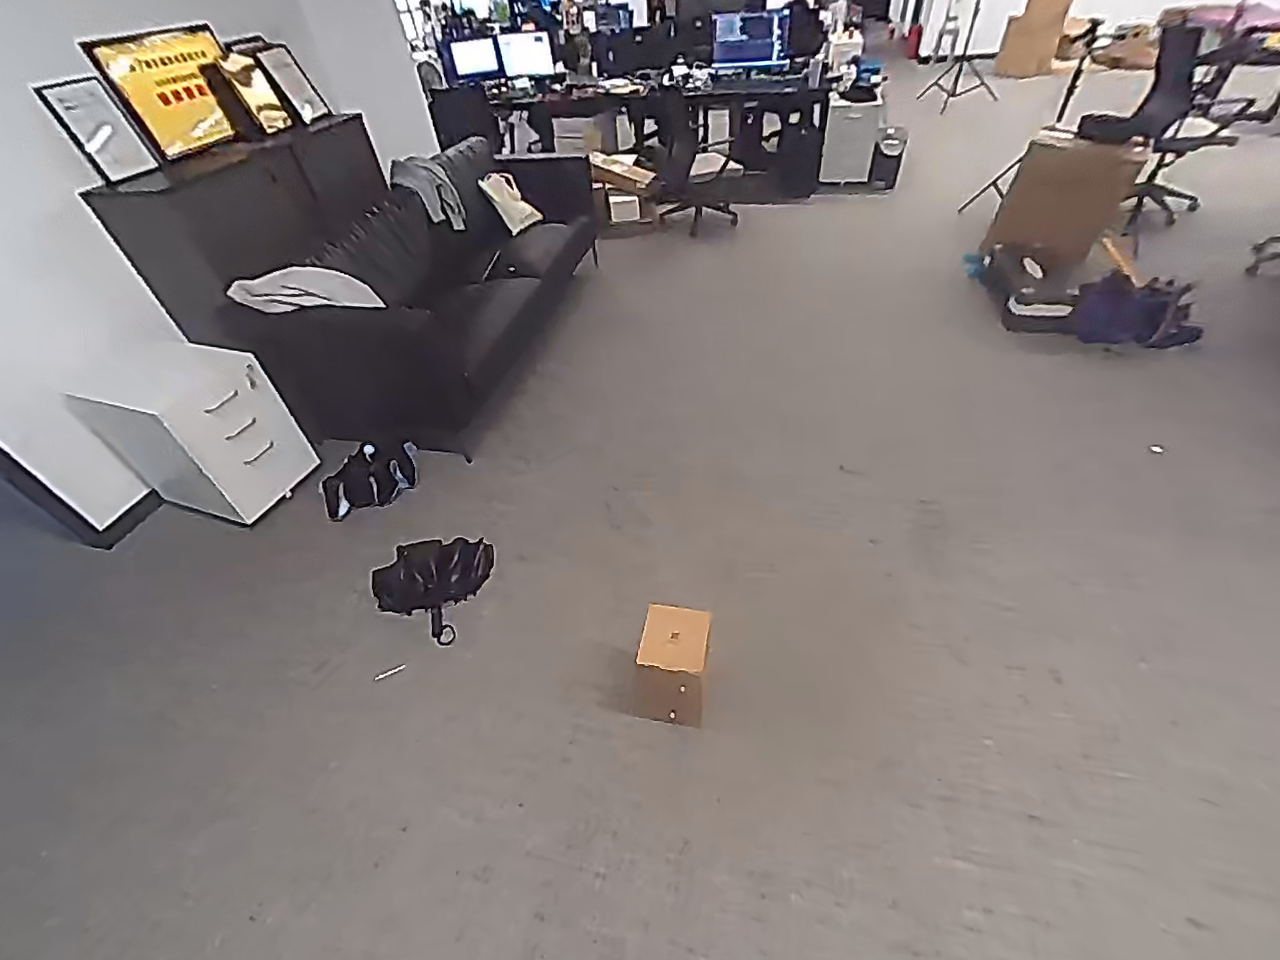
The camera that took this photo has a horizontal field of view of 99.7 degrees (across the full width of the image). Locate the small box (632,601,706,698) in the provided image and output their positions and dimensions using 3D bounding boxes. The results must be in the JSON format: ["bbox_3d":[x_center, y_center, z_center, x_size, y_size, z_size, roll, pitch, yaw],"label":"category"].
[{"bbox_3d":[0.082,0.445,1.413,0.168,0.176,0.179,6,45,11],"label":"small box"}]

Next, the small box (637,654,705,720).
[{"bbox_3d":[0.094,0.556,1.531,0.168,0.176,0.179,5,47,11],"label":"small box"}]
